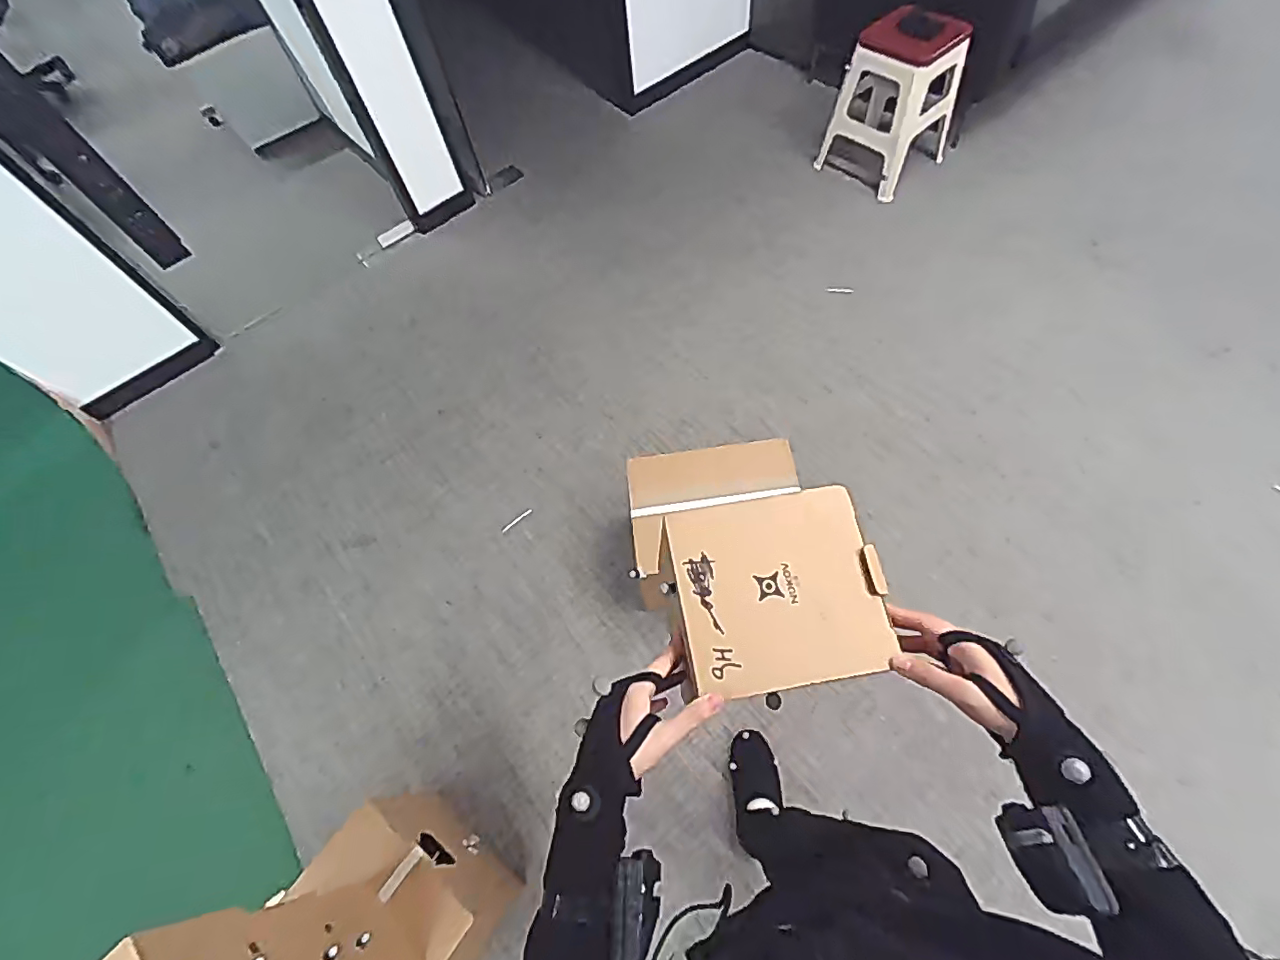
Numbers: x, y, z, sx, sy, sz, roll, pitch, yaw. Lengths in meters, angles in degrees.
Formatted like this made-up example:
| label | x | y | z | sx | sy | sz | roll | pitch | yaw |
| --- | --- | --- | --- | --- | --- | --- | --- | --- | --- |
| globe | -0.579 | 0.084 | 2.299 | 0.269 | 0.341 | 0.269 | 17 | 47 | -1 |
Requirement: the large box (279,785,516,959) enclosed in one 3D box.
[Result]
| label | x | y | z | sx | sy | sz | roll | pitch | yaw |
| --- | --- | --- | --- | --- | --- | --- | --- | --- | --- |
| large box | -0.518 | 0.886 | 1.060 | 0.320 | 0.320 | 0.408 | 31 | 70 | 21 |

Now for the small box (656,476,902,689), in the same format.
| label | x | y | z | sx | sy | sz | roll | pitch | yaw |
| --- | --- | --- | --- | --- | --- | --- | --- | --- | --- |
| small box | 0.117 | 0.109 | 0.538 | 0.179 | 0.176 | 0.168 | -7 | 67 | -5 |

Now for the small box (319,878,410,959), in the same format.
| label | x | y | z | sx | sy | sz | roll | pitch | yaw |
| --- | --- | --- | --- | --- | --- | --- | --- | --- | --- |
| small box | -0.498 | 0.767 | 0.843 | 0.179 | 0.176 | 0.168 | 37 | 70 | 22 |

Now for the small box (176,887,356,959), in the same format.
| label | x | y | z | sx | sy | sz | roll | pitch | yaw |
| --- | --- | --- | --- | --- | --- | --- | --- | --- | --- |
| small box | -0.513 | 0.683 | 0.705 | 0.168 | 0.176 | 0.179 | 39 | 70 | 22 |
